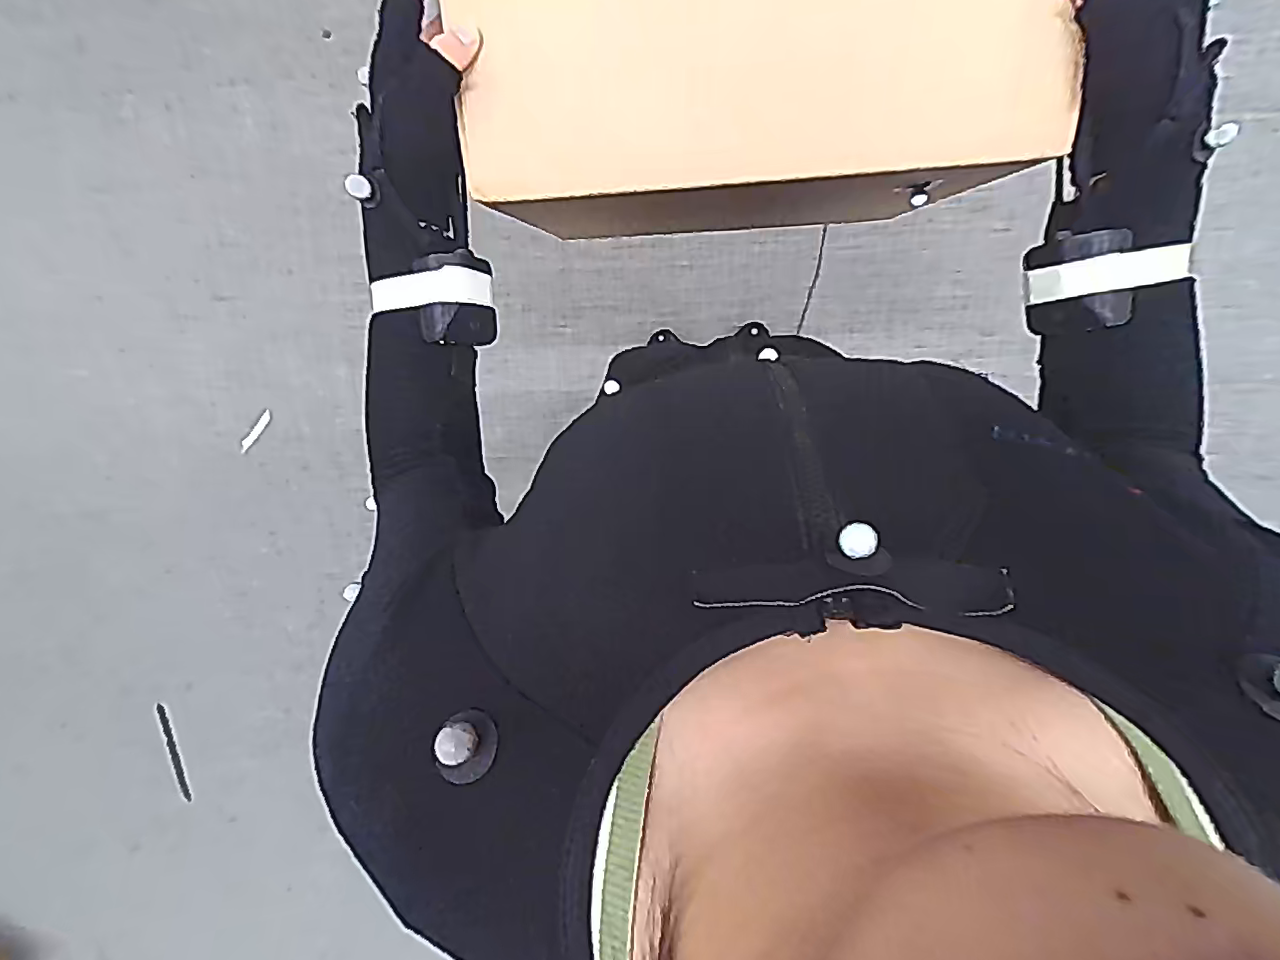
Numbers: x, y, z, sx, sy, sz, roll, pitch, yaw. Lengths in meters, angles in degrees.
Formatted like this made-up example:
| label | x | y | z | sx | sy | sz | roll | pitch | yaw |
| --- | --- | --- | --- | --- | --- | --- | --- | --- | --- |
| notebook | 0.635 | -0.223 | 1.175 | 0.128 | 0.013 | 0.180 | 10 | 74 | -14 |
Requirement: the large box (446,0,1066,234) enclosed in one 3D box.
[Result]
| label | x | y | z | sx | sy | sz | roll | pitch | yaw |
| --- | --- | --- | --- | --- | --- | --- | --- | --- | --- |
| large box | 0.077 | -0.406 | 0.471 | 0.408 | 0.320 | 0.320 | -2 | 109 | 4 |
